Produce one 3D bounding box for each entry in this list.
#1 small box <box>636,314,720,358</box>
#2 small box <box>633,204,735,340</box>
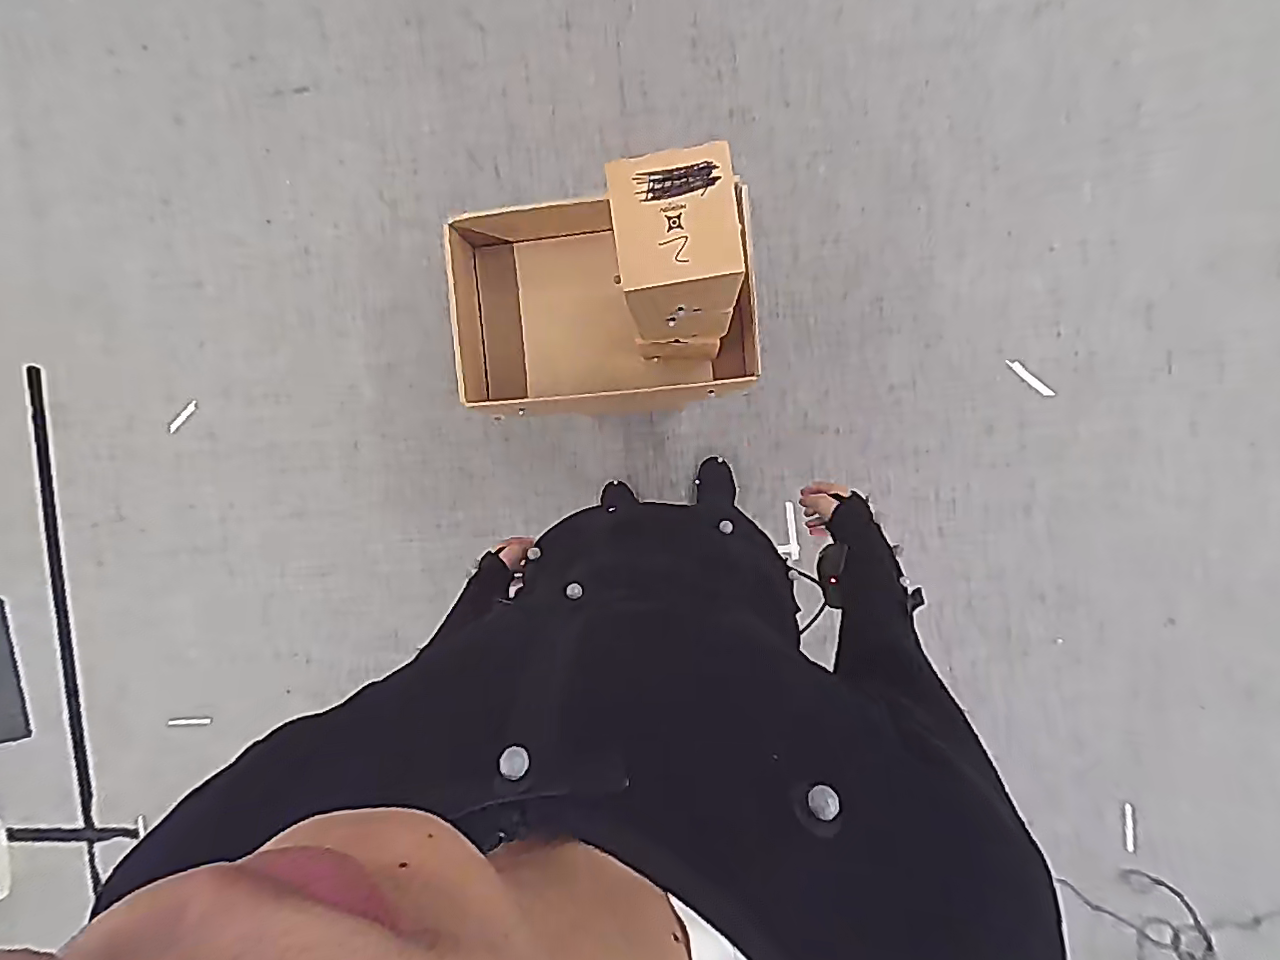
[{"bbox_3d":[0.083,-0.353,1.116,0.168,0.176,0.179,2,91,4],"label":"small box"},{"bbox_3d":[0.076,-0.356,0.952,0.168,0.176,0.179,-2,91,5],"label":"small box"}]
